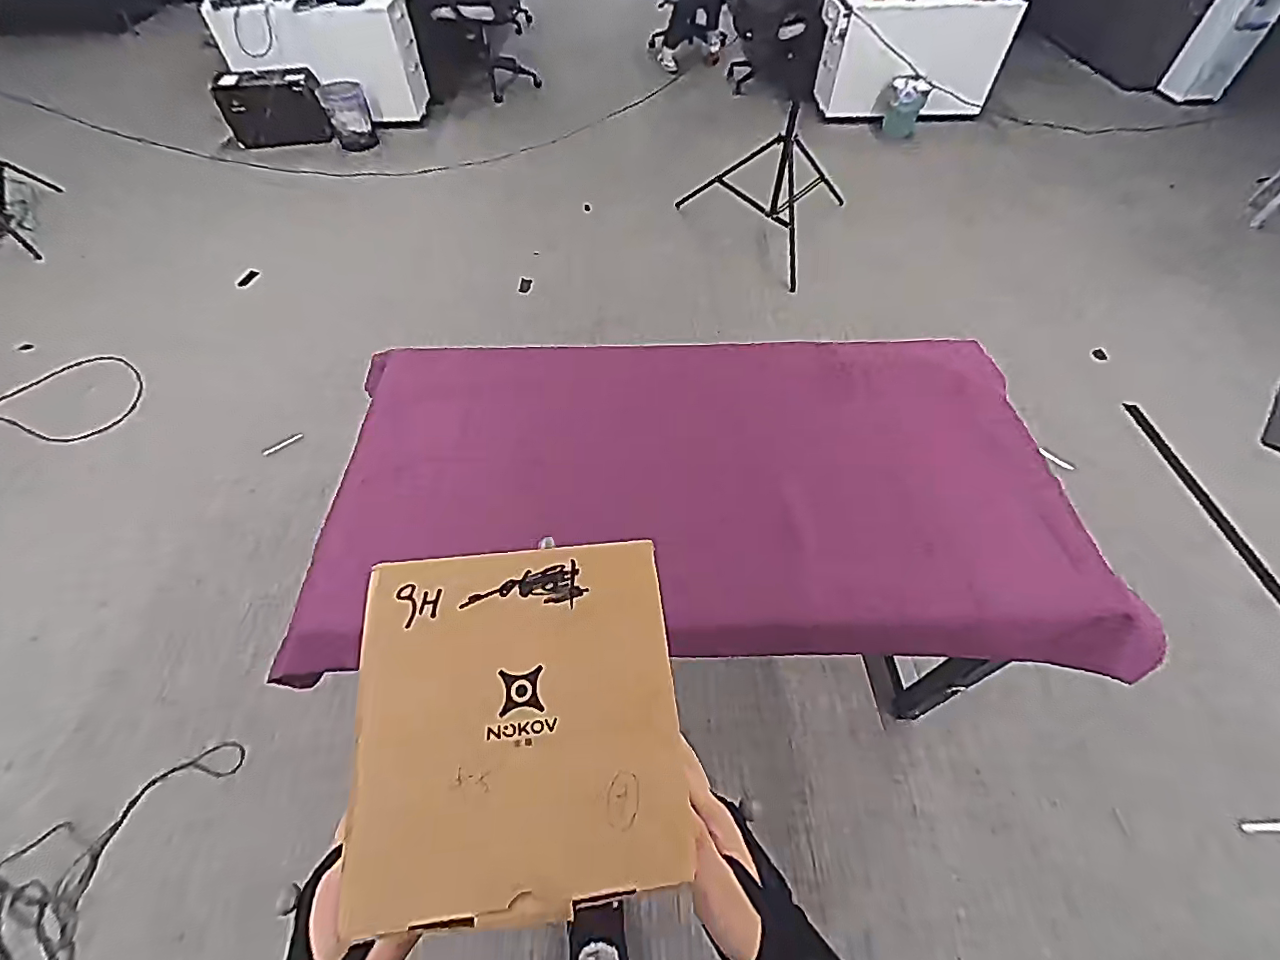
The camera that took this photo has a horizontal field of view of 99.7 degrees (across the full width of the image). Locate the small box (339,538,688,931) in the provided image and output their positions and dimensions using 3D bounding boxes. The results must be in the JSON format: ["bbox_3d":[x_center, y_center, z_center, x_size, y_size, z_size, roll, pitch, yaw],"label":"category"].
[{"bbox_3d":[-0.070,0.152,0.357,0.168,0.176,0.179,-4,65,-7],"label":"small box"}]
